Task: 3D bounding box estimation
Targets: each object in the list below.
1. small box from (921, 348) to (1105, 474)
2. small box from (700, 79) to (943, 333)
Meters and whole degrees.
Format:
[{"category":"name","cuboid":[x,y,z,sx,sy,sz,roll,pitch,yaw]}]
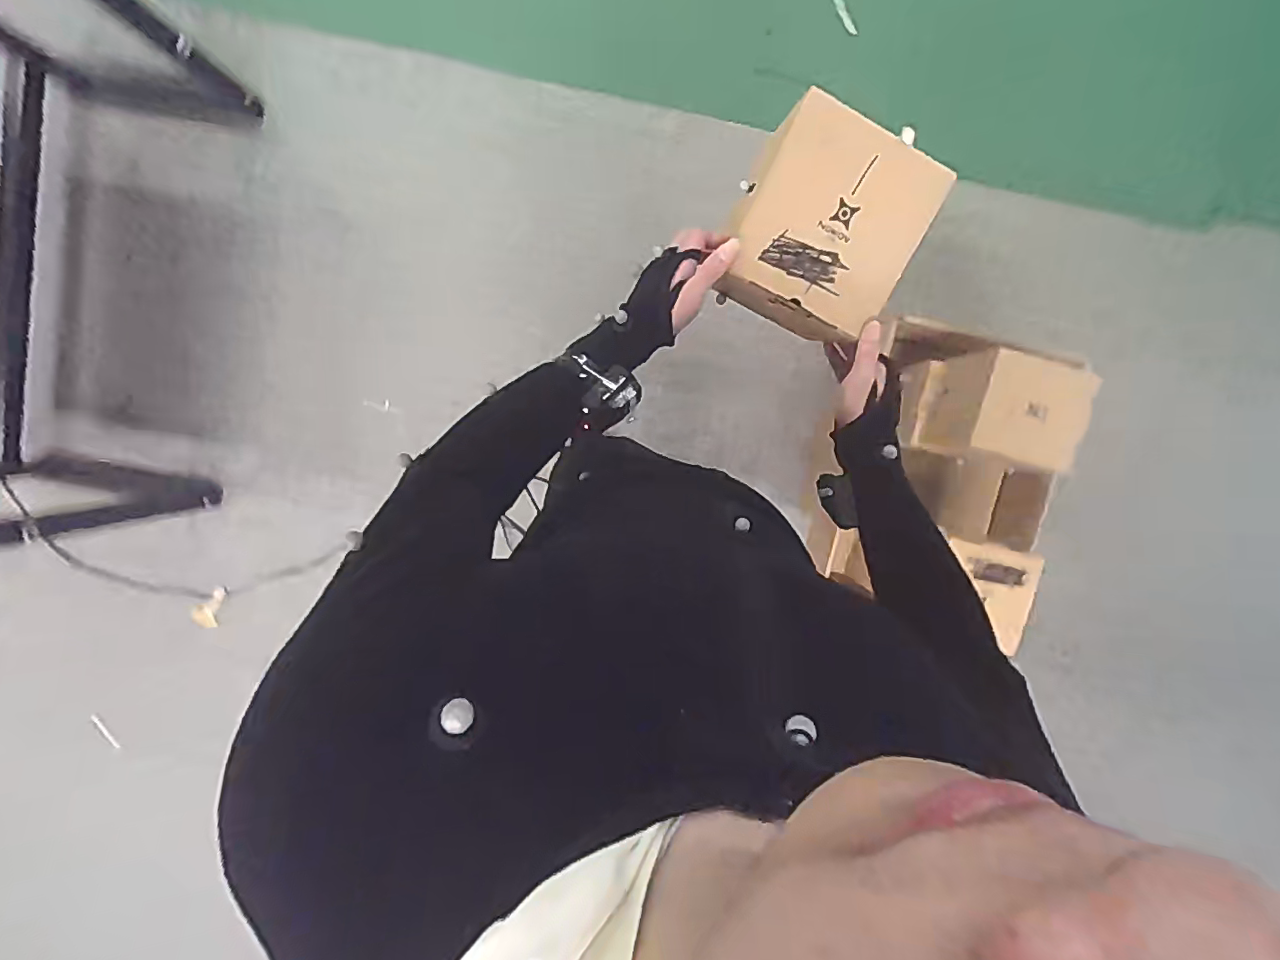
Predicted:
[{"category":"small box","cuboid":[0.636,-0.117,0.945,0.179,0.176,0.168,16,94,-1]},{"category":"small box","cuboid":[0.177,-0.275,0.595,0.168,0.176,0.179,24,102,-9]}]
